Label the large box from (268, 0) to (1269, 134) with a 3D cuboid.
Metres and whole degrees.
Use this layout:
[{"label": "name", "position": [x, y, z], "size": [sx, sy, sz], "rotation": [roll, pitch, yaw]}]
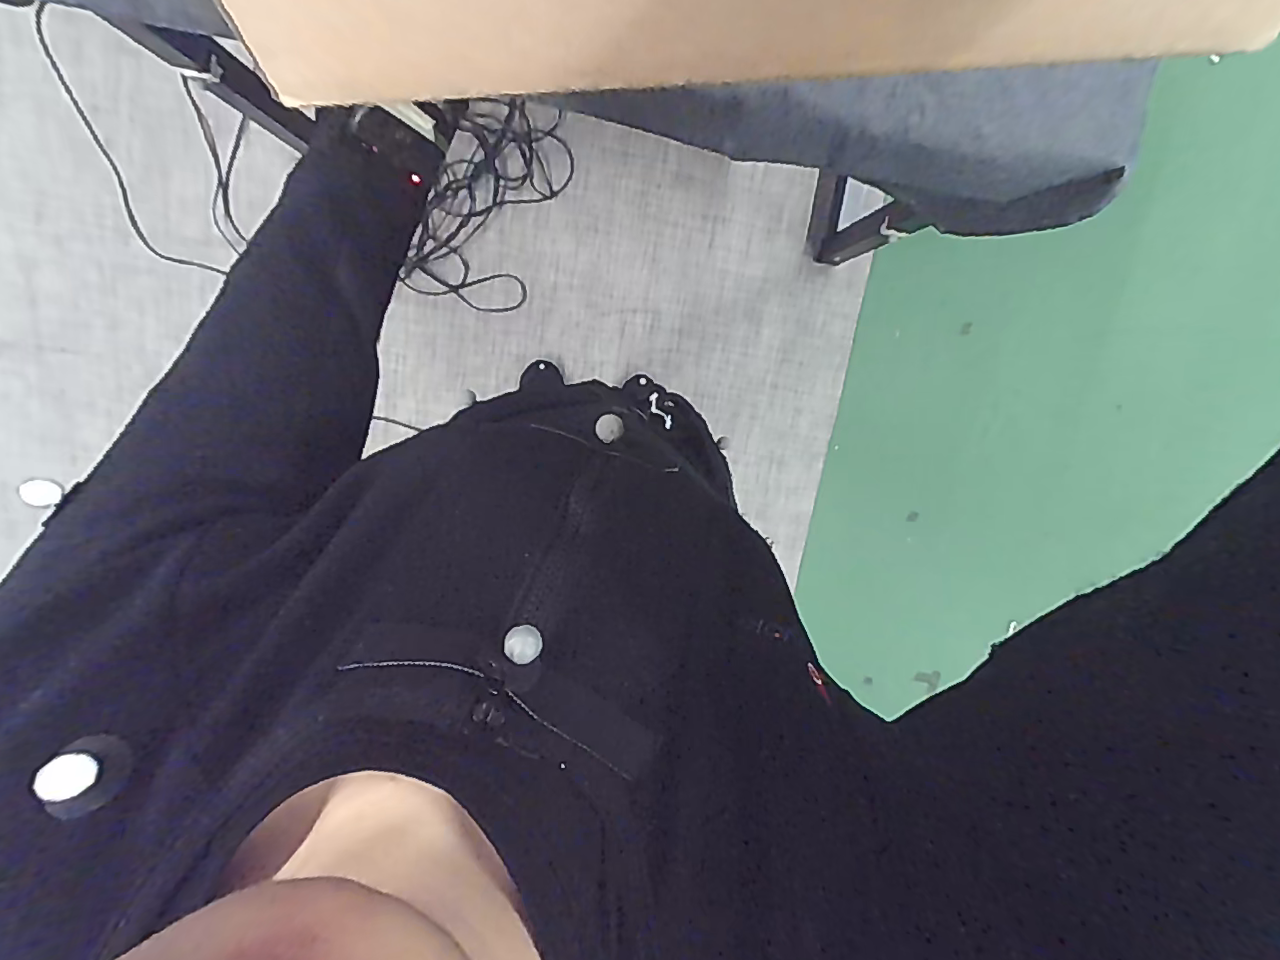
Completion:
[{"label": "large box", "position": [0.040, -0.375, 0.192], "size": [0.408, 0.320, 0.320], "rotation": [1, 58, 8]}]
